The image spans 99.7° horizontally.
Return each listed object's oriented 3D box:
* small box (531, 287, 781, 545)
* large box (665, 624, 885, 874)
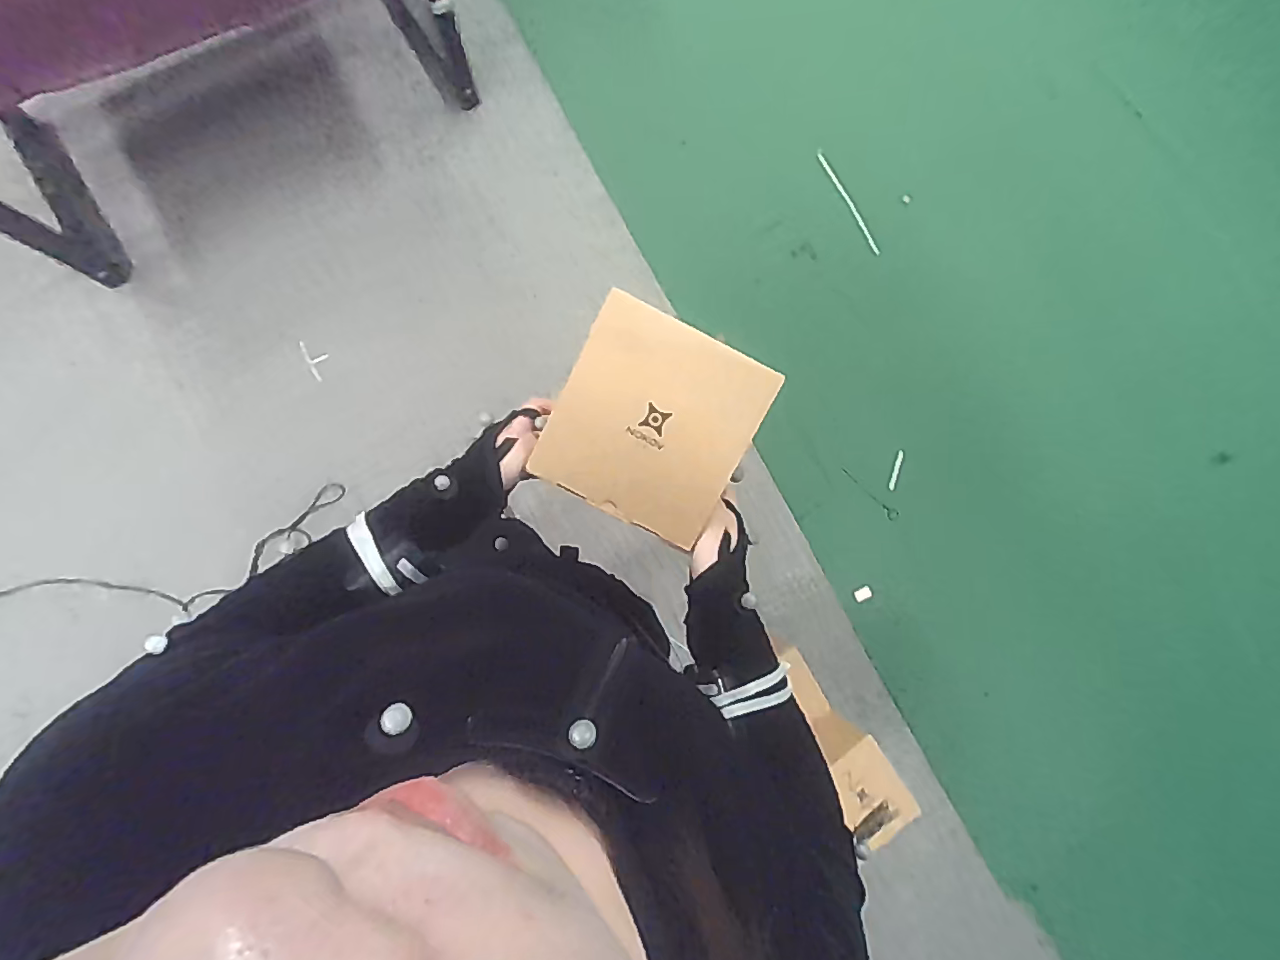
[{"bbox_3d":[0.013,-0.066,0.548,0.168,0.176,0.179,26,100,-3],"label":"small box"},{"bbox_3d":[0.307,0.629,1.346,0.320,0.320,0.408,-29,88,-7],"label":"large box"}]
